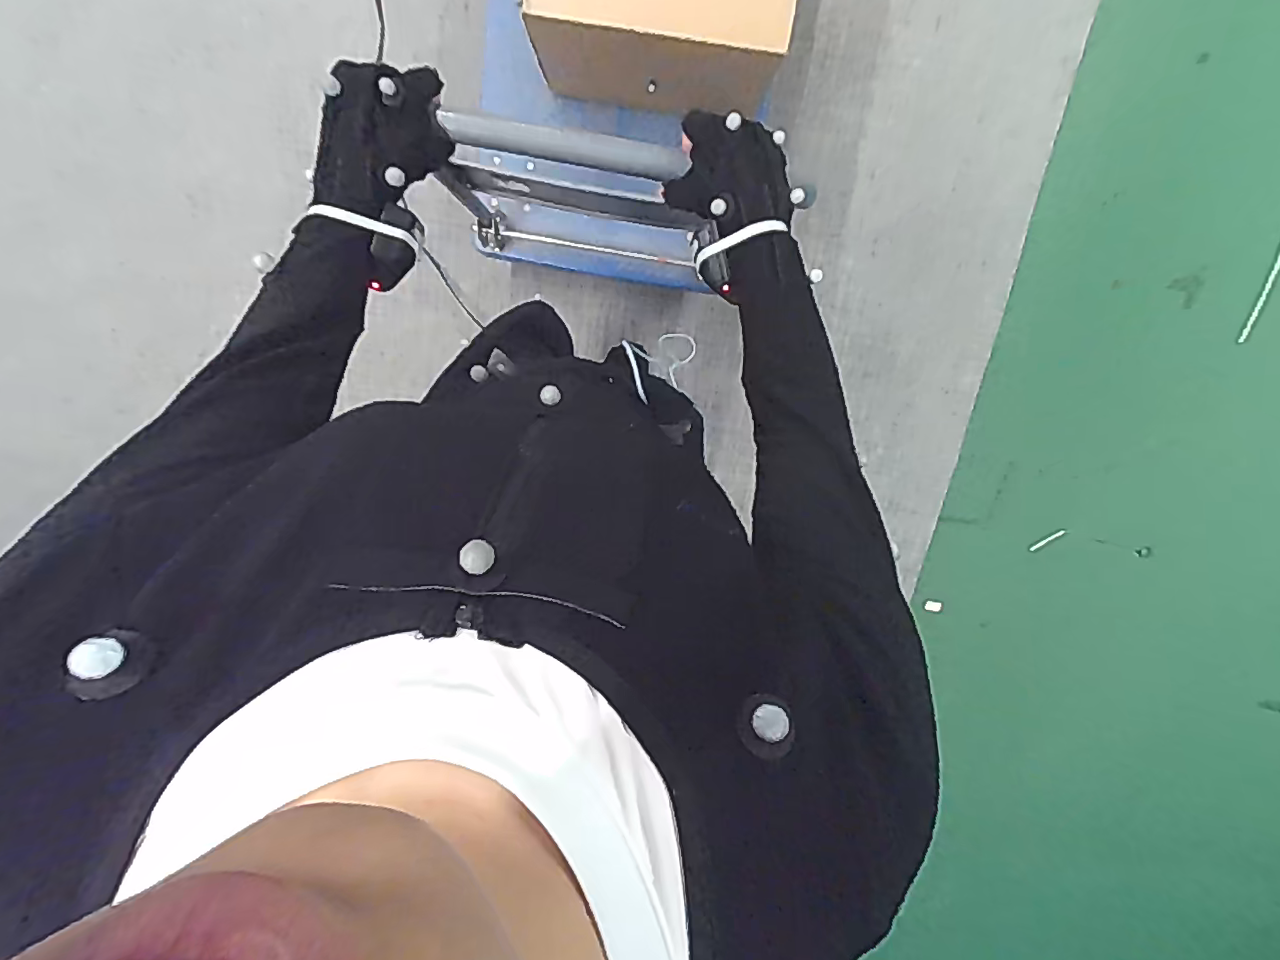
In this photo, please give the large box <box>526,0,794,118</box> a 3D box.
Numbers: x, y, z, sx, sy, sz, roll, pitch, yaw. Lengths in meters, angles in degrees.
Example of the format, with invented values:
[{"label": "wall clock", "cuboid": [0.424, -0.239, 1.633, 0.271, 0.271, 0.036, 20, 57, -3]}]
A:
[{"label": "large box", "cuboid": [0.047, -0.860, 0.918, 0.408, 0.320, 0.320, 8, 106, -1]}]
